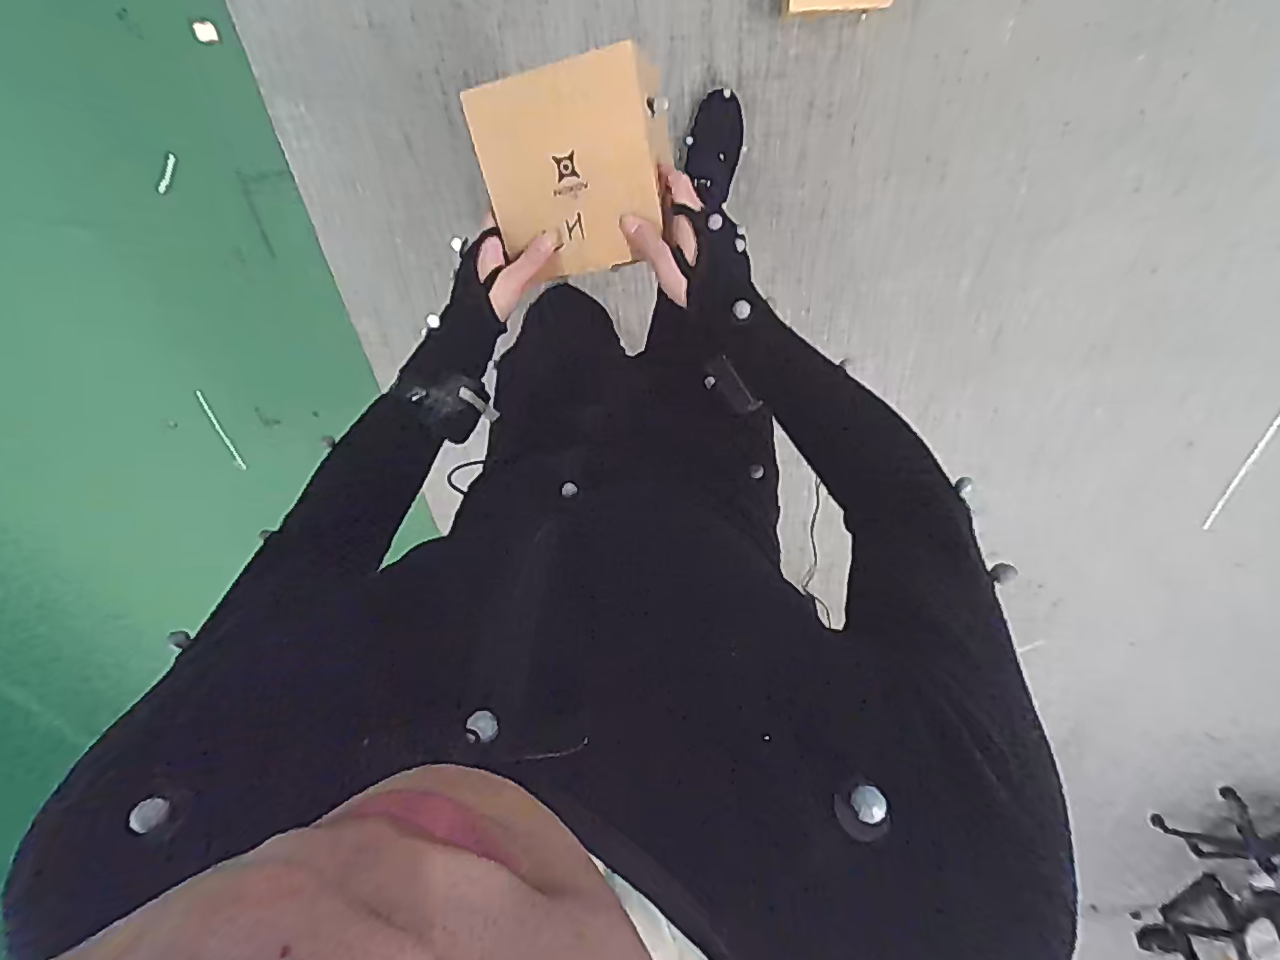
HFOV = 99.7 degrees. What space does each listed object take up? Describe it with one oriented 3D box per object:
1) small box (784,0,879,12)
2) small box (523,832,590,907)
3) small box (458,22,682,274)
[{"bbox_3d":[0.348,-0.919,0.924,0.179,0.176,0.168,1,127,6],"label":"small box"},{"bbox_3d":[-0.263,1.242,1.743,0.168,0.176,0.179,0,127,8],"label":"small box"},{"bbox_3d":[-0.055,-0.333,0.567,0.168,0.176,0.179,-5,119,15],"label":"small box"}]
